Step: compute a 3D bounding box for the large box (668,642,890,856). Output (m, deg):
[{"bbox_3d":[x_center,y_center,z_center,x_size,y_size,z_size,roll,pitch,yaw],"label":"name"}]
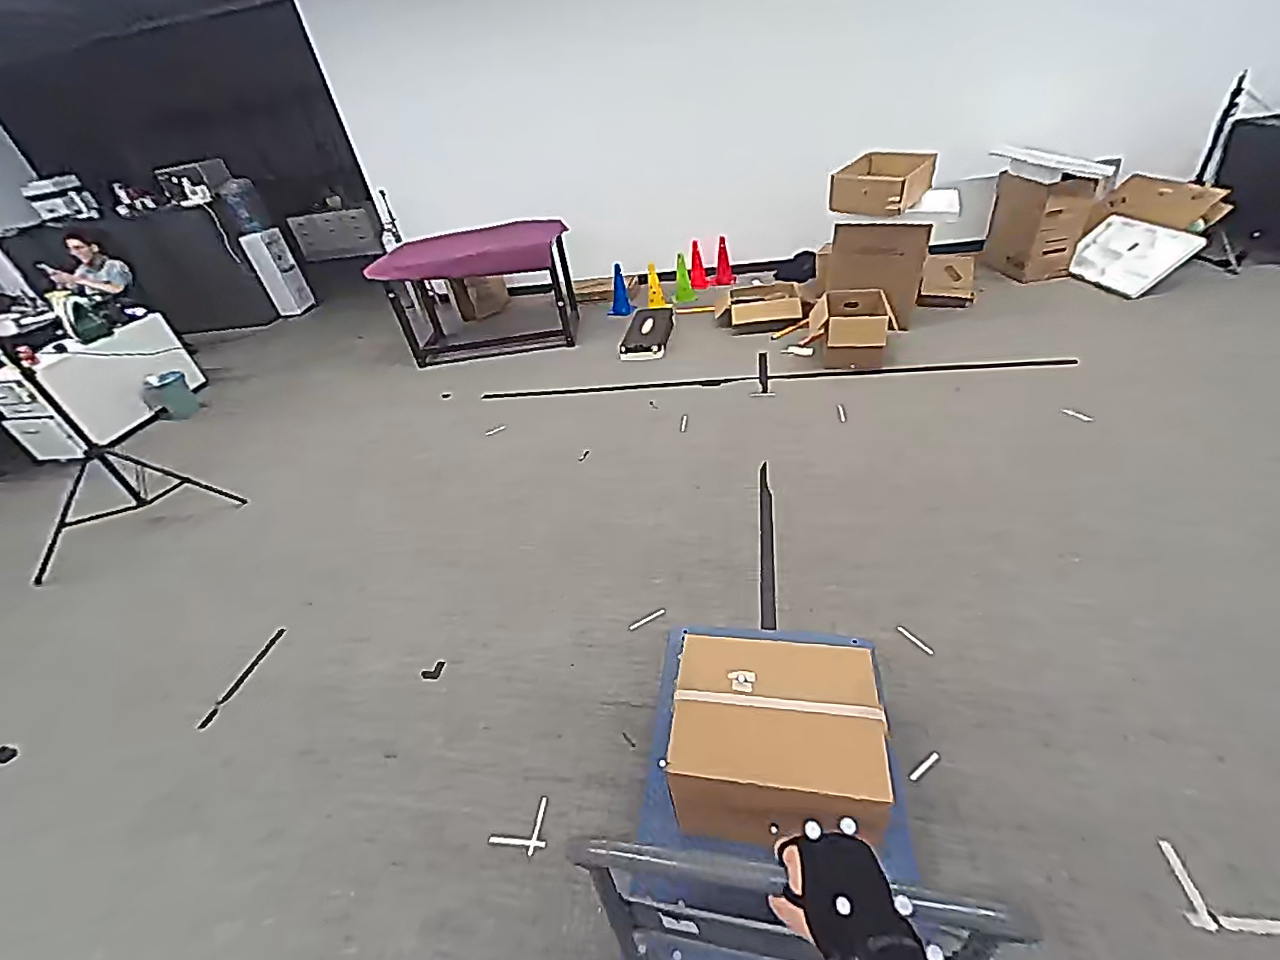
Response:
[{"bbox_3d":[0.296,0.583,1.194,0.408,0.320,0.320,-1,37,14],"label":"large box"}]
